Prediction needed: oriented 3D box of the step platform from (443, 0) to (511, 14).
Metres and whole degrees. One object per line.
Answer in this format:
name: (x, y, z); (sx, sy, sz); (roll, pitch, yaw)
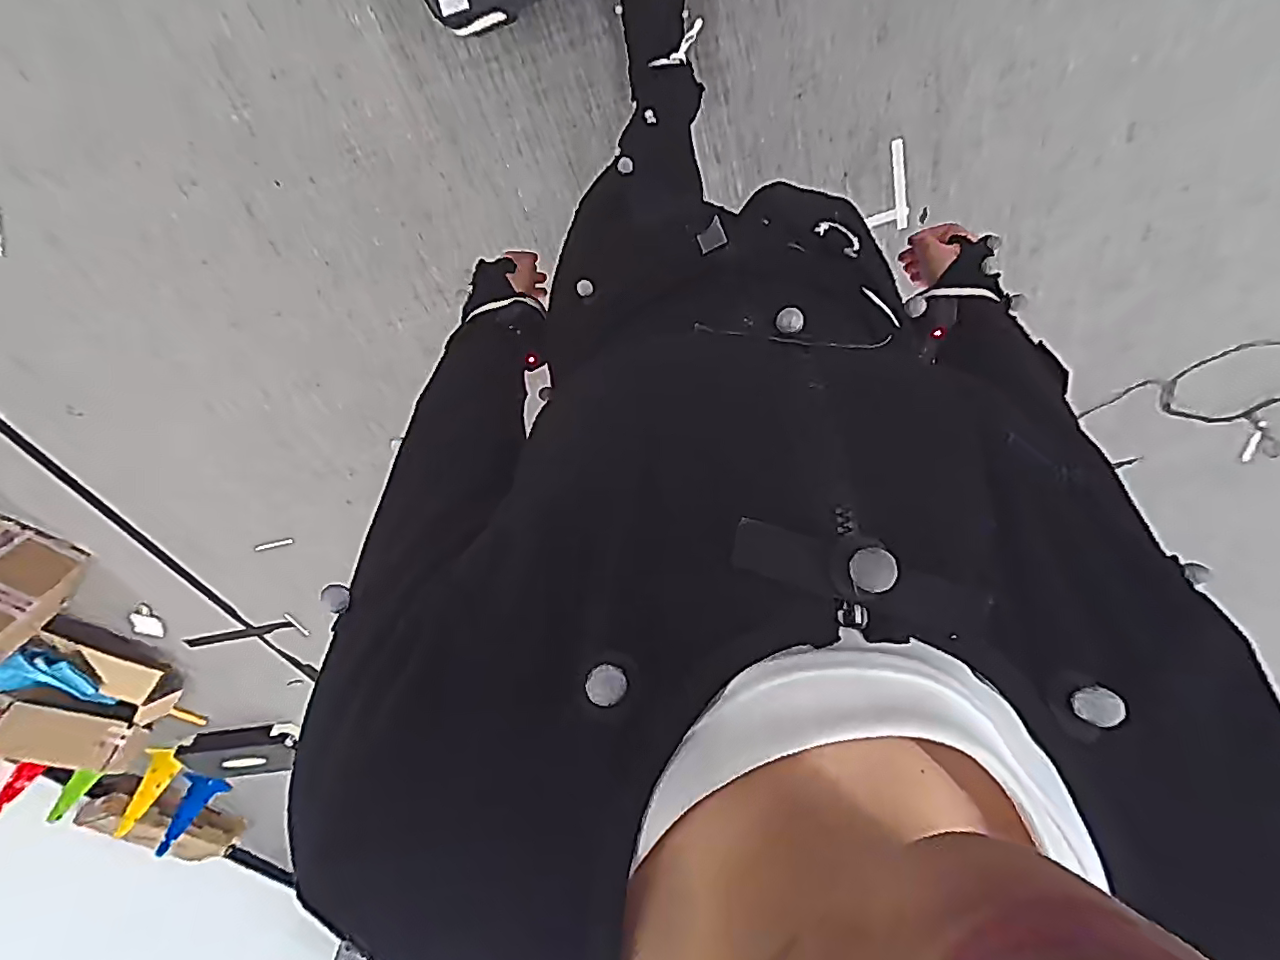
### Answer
step platform: (-0.039, -0.940, 0.741); (0.684, 0.204, 0.286); (-13, 126, 13)
